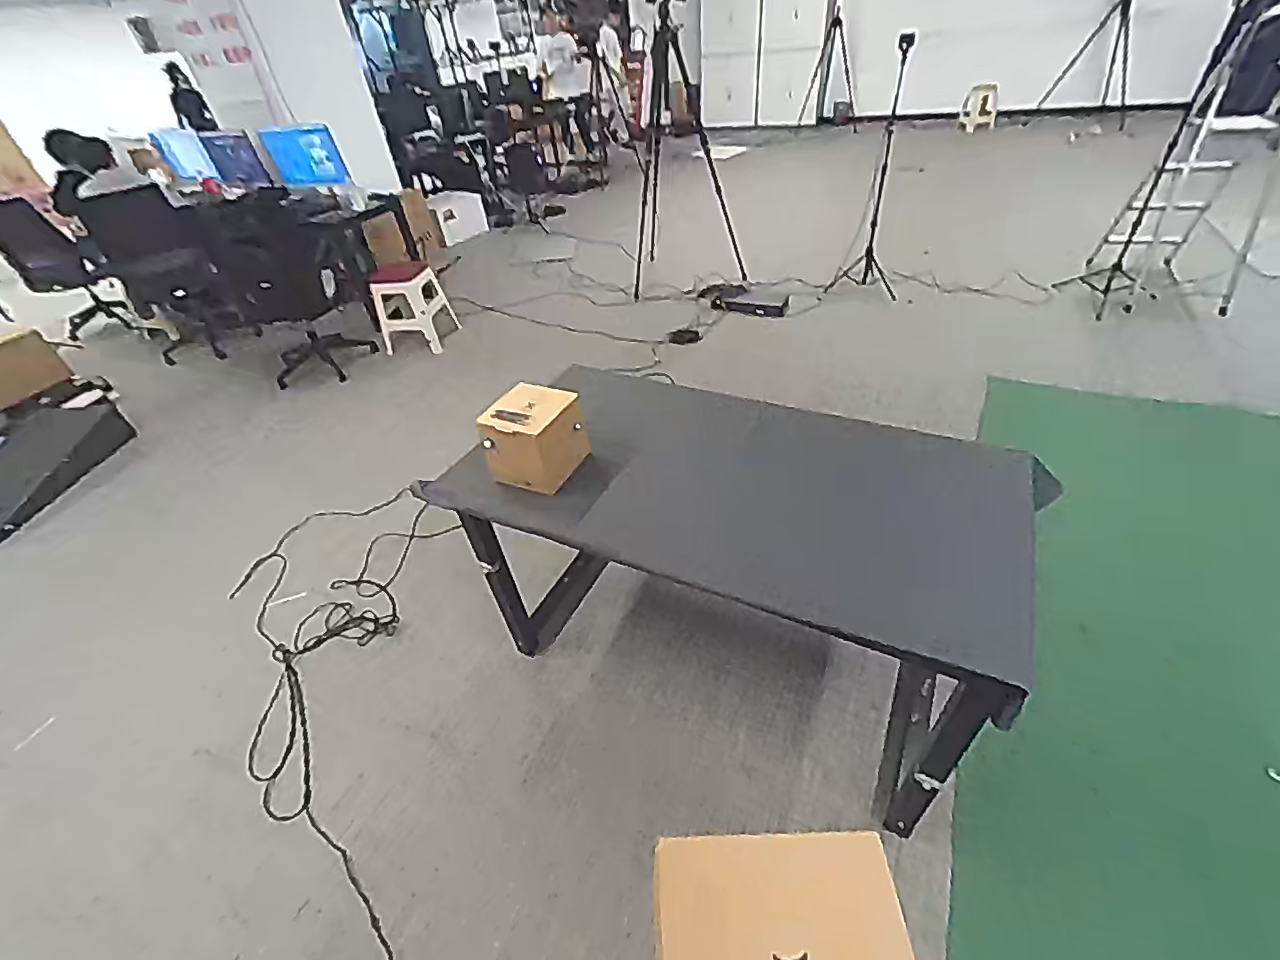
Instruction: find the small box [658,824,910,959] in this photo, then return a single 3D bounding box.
[{"bbox_3d":[0.097,0.379,0.405,0.168,0.176,0.179,-2,46,1],"label":"small box"}]
